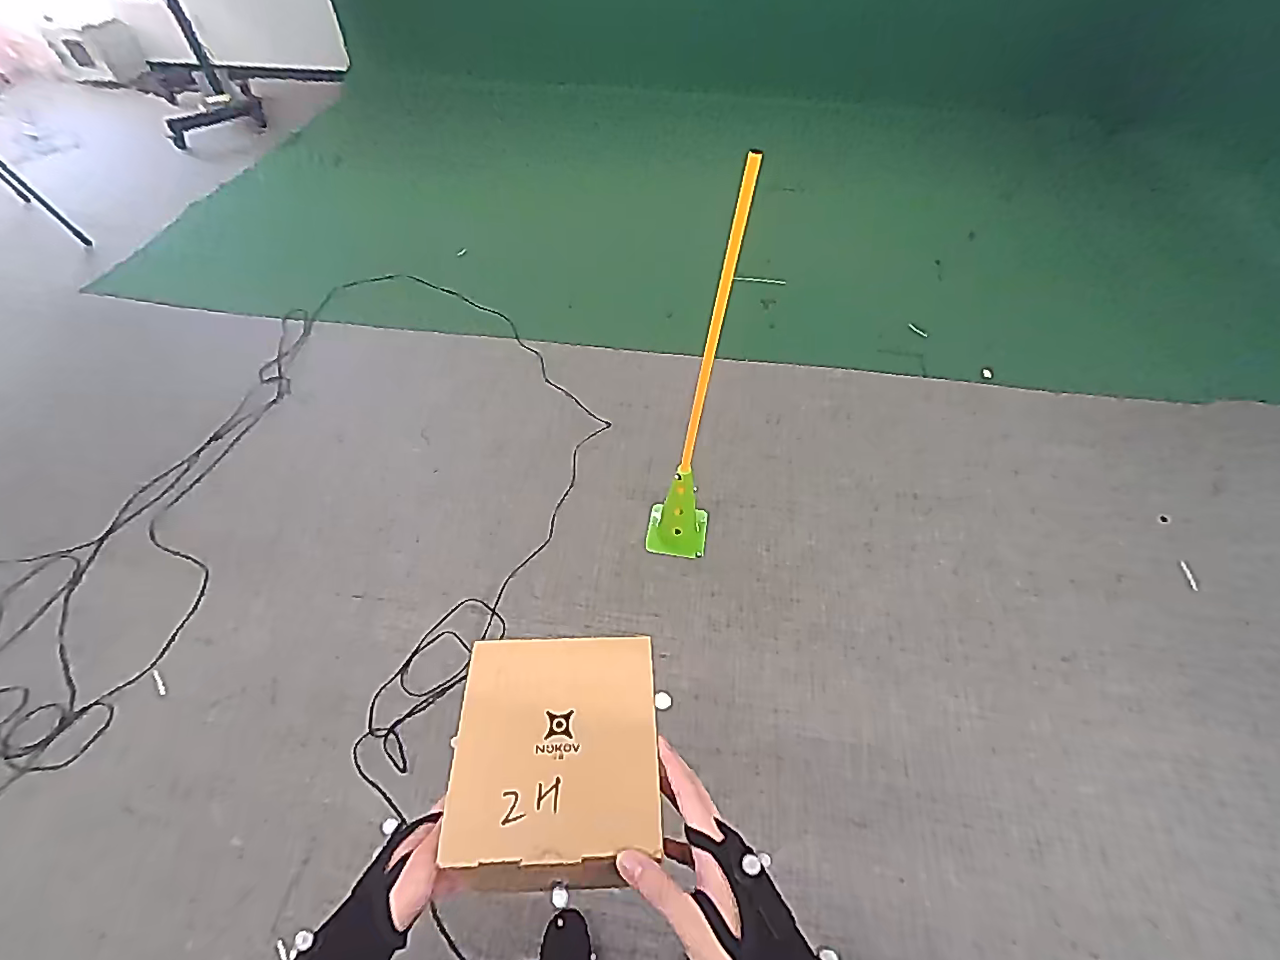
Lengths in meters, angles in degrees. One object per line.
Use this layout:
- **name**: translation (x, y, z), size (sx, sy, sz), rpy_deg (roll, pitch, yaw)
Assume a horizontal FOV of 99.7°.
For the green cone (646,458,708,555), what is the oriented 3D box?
- **green cone**: translation (0.128, 0.057, 1.731), size (0.202, 0.368, 0.200), rpy_deg (7, 52, 6)
